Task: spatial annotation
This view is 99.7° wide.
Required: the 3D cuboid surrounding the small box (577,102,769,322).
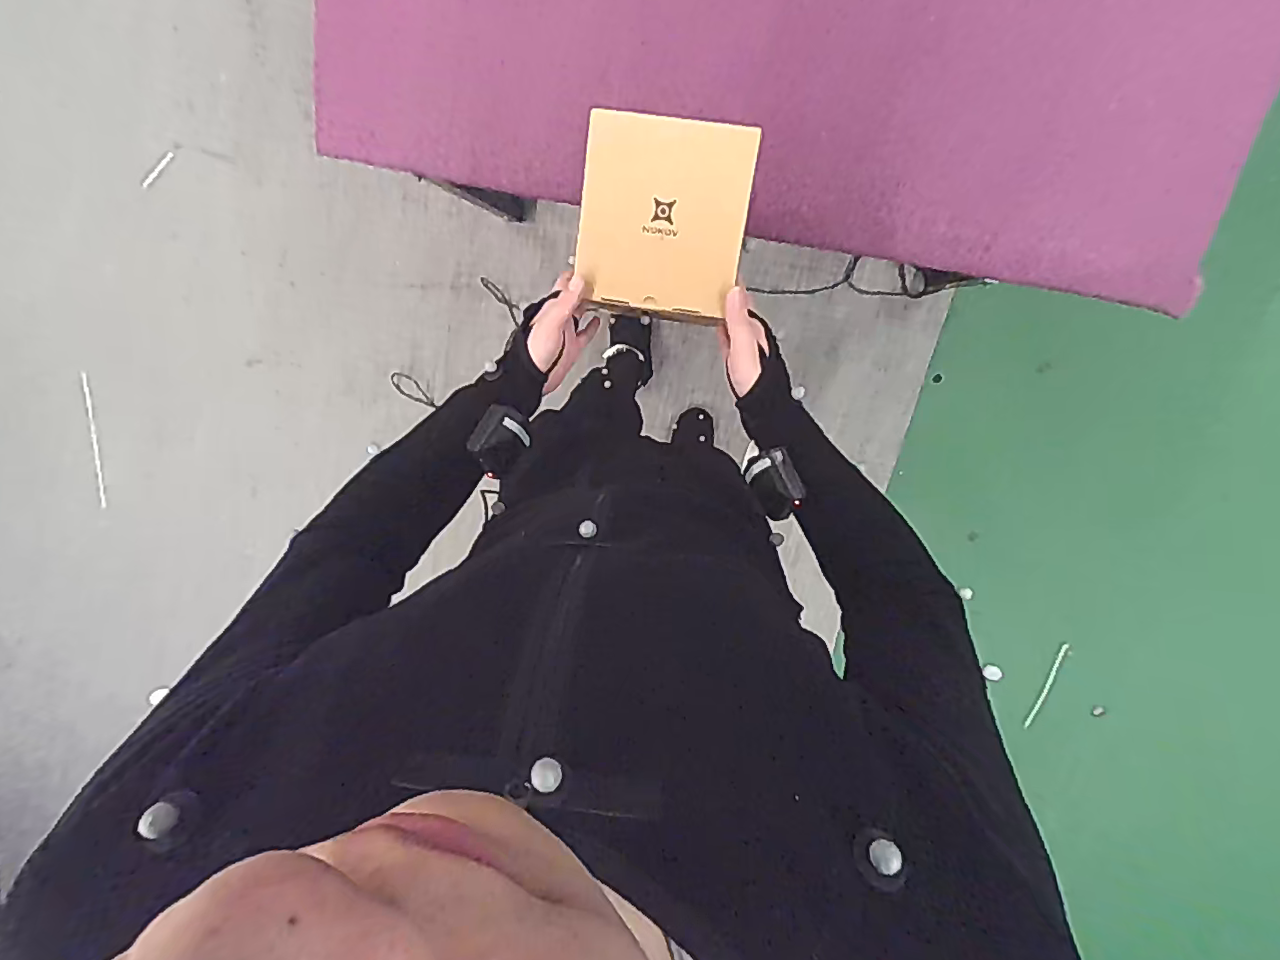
[{"bbox_3d":[0.033,-0.279,0.603,0.168,0.176,0.179,9,105,2],"label":"small box"}]
